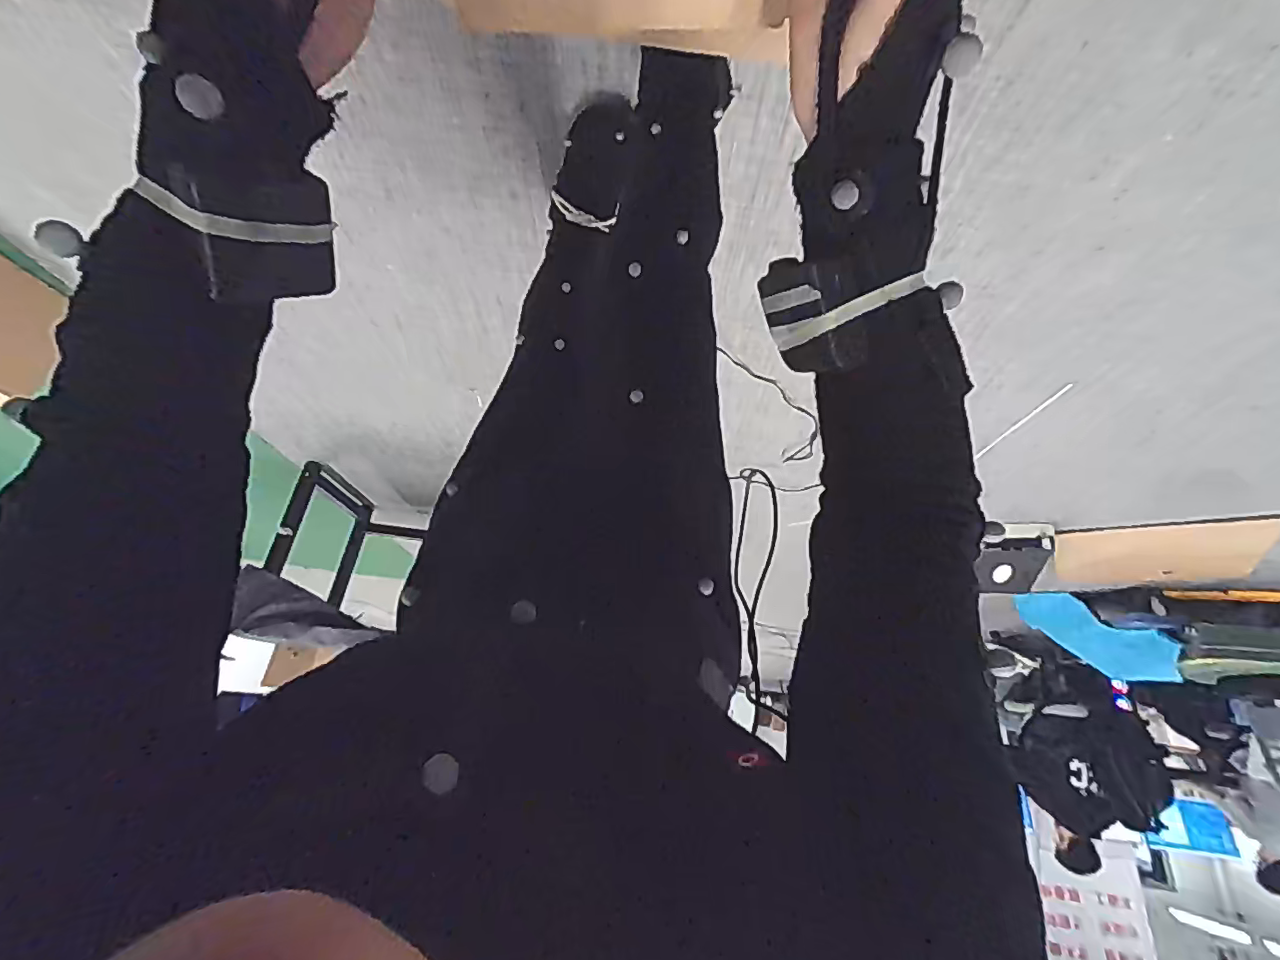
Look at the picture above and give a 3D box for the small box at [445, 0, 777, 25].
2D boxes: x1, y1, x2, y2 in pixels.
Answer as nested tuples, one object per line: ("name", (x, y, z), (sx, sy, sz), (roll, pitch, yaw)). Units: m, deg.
("small box", (-0.015, -0.346, 0.233), (0.179, 0.176, 0.168), (-1, 165, 0))
